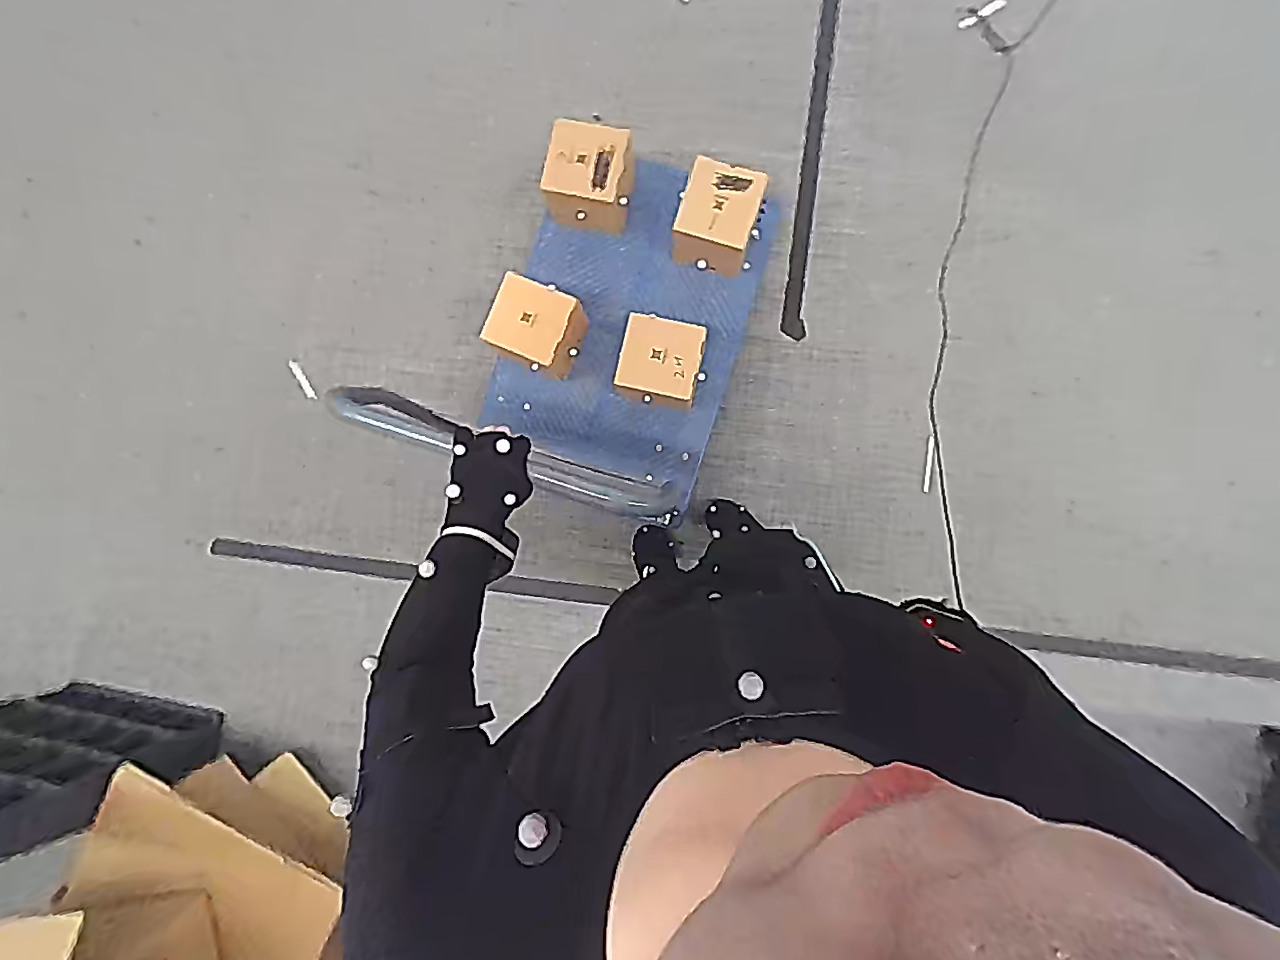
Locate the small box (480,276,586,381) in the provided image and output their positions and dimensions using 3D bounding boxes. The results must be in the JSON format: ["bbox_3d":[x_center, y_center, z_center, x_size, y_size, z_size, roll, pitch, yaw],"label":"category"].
[{"bbox_3d":[-0.246,-0.351,1.289,0.179,0.176,0.168,22,89,3],"label":"small box"}]

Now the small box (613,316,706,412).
[{"bbox_3d":[0.049,-0.263,1.264,0.179,0.176,0.168,13,90,4],"label":"small box"}]

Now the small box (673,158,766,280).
[{"bbox_3d":[0.179,-0.601,1.264,0.168,0.176,0.179,18,91,5],"label":"small box"}]
